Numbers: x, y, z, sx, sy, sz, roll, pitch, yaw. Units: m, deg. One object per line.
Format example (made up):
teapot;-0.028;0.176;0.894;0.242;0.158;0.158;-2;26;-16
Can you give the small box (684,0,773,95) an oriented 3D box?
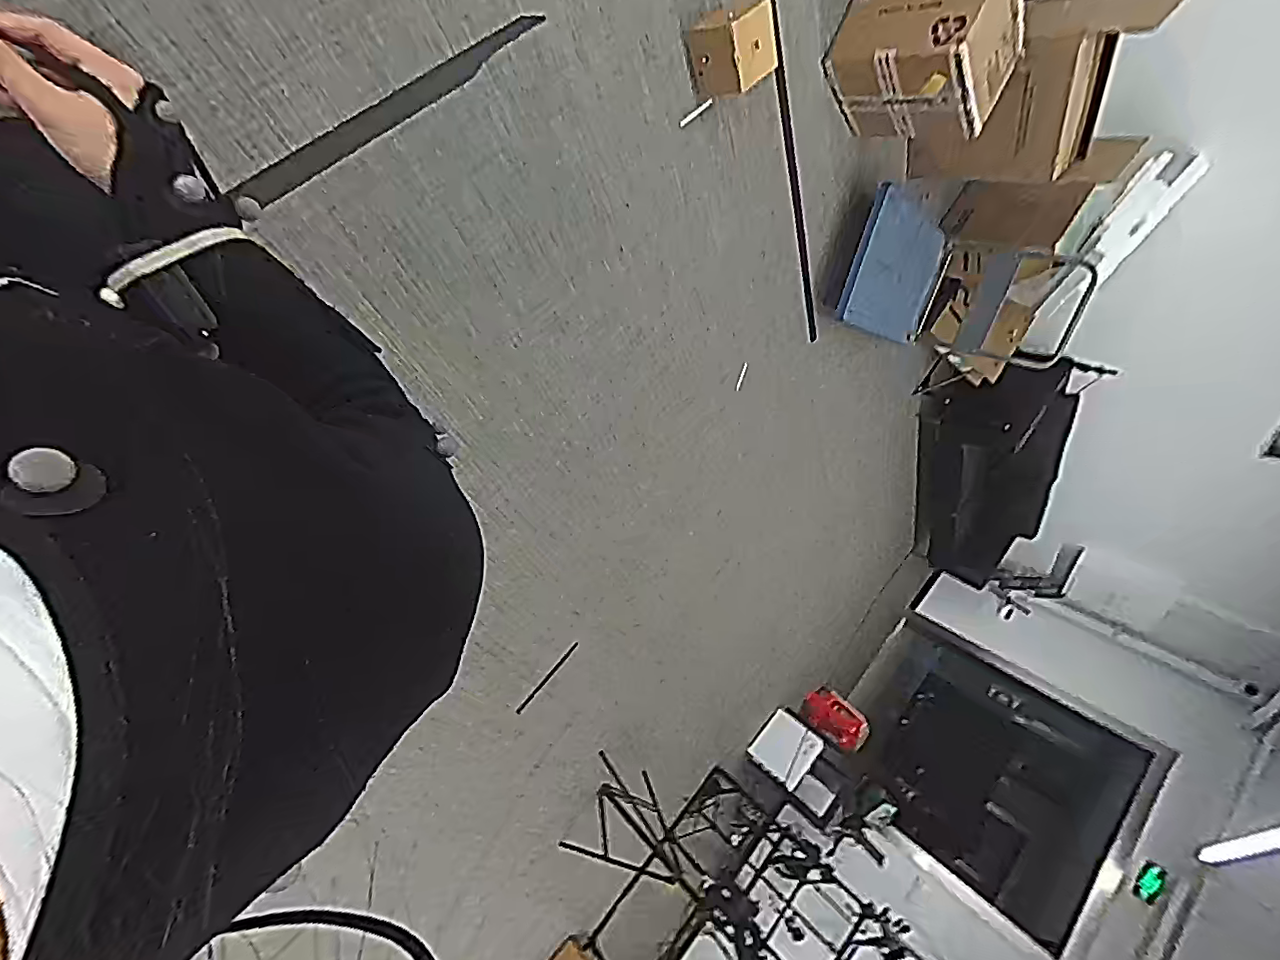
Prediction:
small box;0.257;-1.246;1.563;0.179;0.176;0.168;-46;140;-16

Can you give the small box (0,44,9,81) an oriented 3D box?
small box;-0.469;-0.312;0.262;0.168;0.176;0.179;-25;129;-38
